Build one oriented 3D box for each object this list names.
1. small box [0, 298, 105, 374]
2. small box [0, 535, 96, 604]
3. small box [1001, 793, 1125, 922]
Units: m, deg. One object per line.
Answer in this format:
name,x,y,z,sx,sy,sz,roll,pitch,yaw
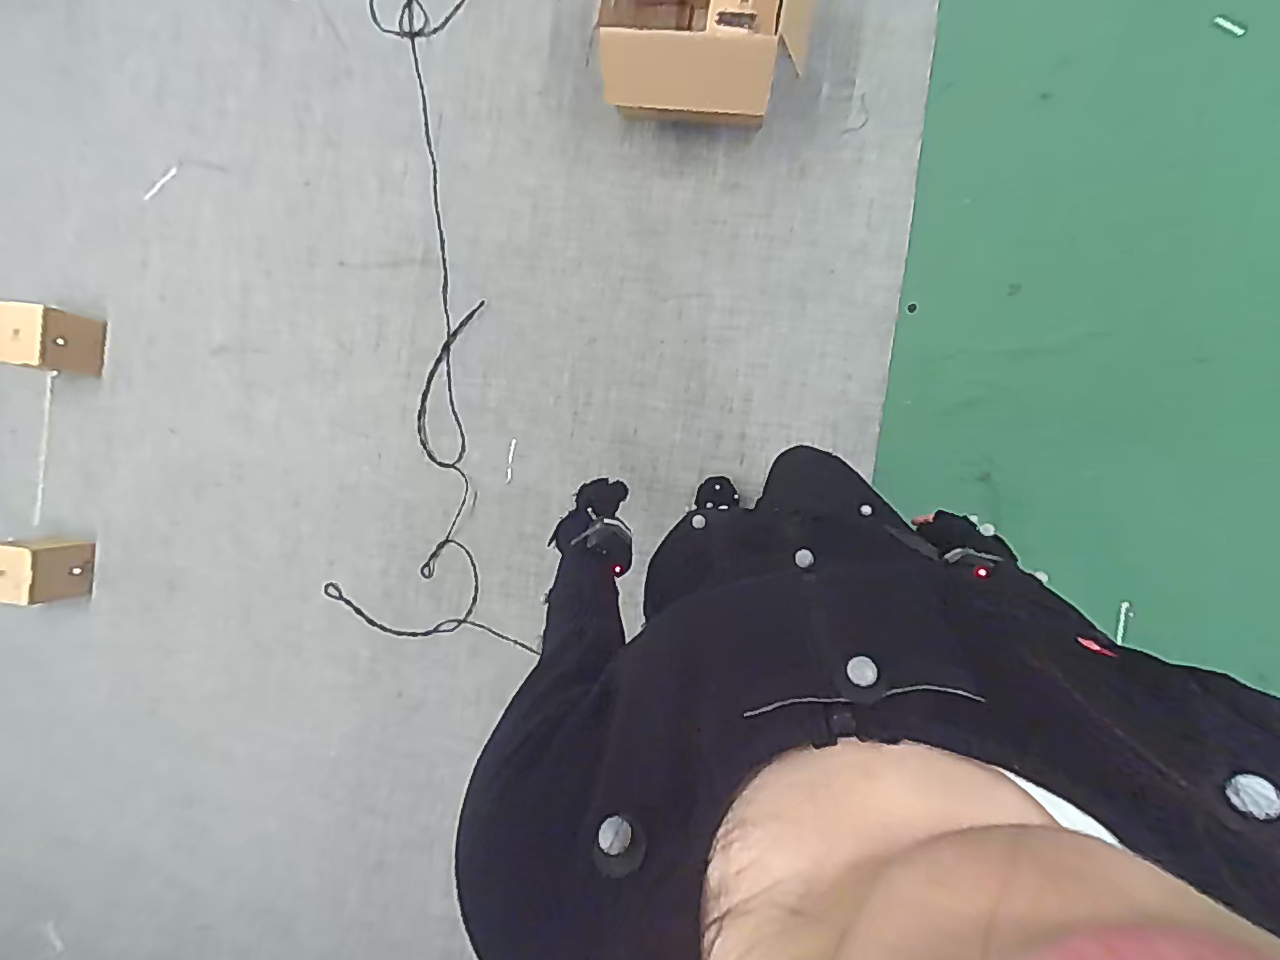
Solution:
small box,-1.746,-0.422,1.598,0.168,0.176,0.179,6,92,5
small box,-1.802,0.261,1.619,0.179,0.176,0.168,6,92,6
small box,1.018,0.910,1.319,0.168,0.176,0.179,9,91,6
